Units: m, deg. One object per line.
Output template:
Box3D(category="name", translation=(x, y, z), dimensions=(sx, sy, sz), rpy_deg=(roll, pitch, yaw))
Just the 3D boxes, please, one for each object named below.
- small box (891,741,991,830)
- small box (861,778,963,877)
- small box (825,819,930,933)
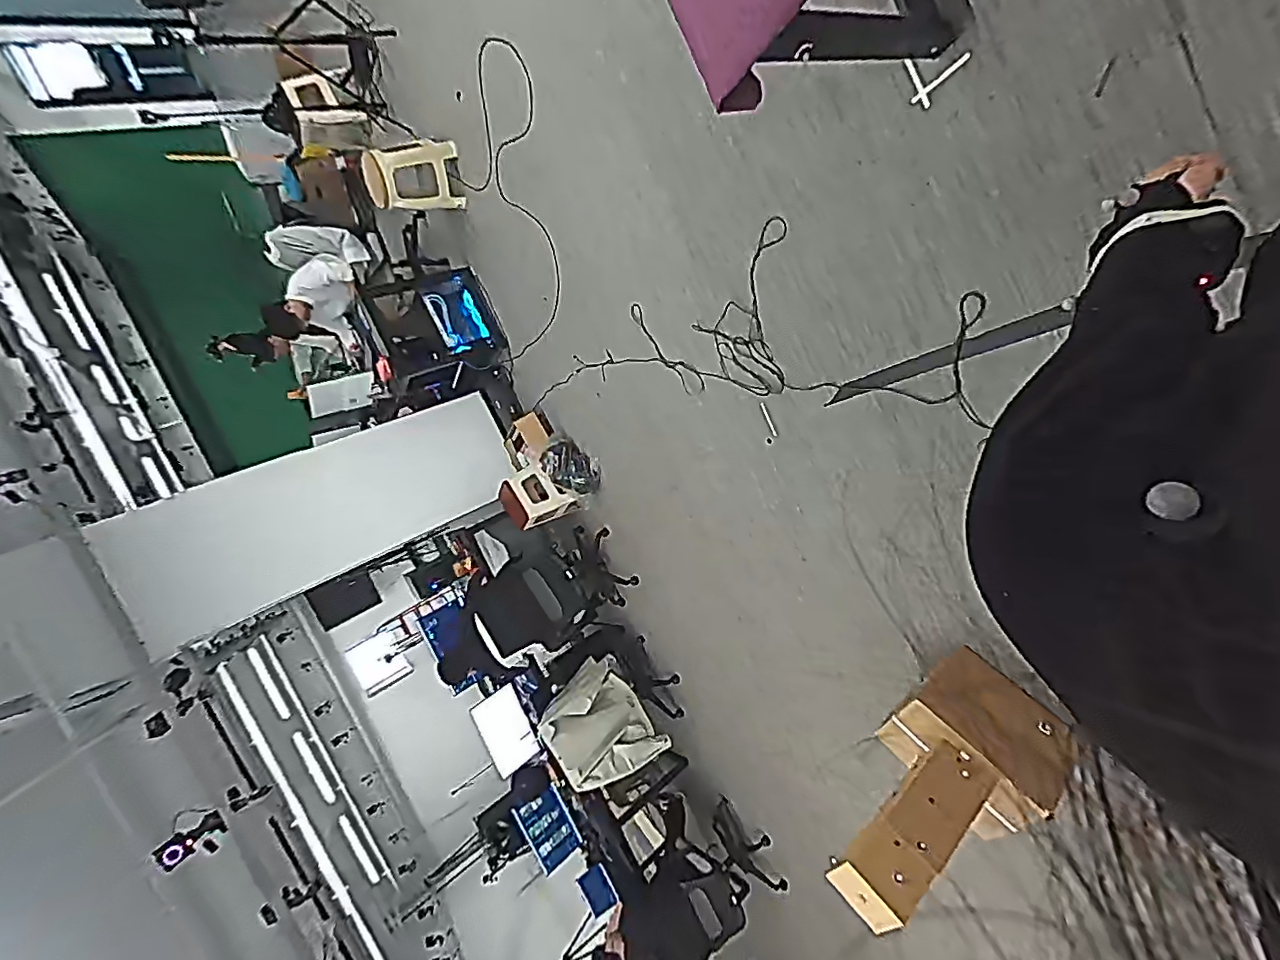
Box3D(category="small box", translation=(0.885, 0.909, 1.585), dimensions=(0.168, 0.176, 0.179), rpy_deg=(43, 144, 31))
Box3D(category="small box", translation=(0.757, 0.976, 1.506), dimensions=(0.168, 0.176, 0.179), rpy_deg=(42, 145, 31))
Box3D(category="small box", translation=(0.629, 1.037, 1.426), dimensions=(0.168, 0.176, 0.179), rpy_deg=(43, 145, 31))
